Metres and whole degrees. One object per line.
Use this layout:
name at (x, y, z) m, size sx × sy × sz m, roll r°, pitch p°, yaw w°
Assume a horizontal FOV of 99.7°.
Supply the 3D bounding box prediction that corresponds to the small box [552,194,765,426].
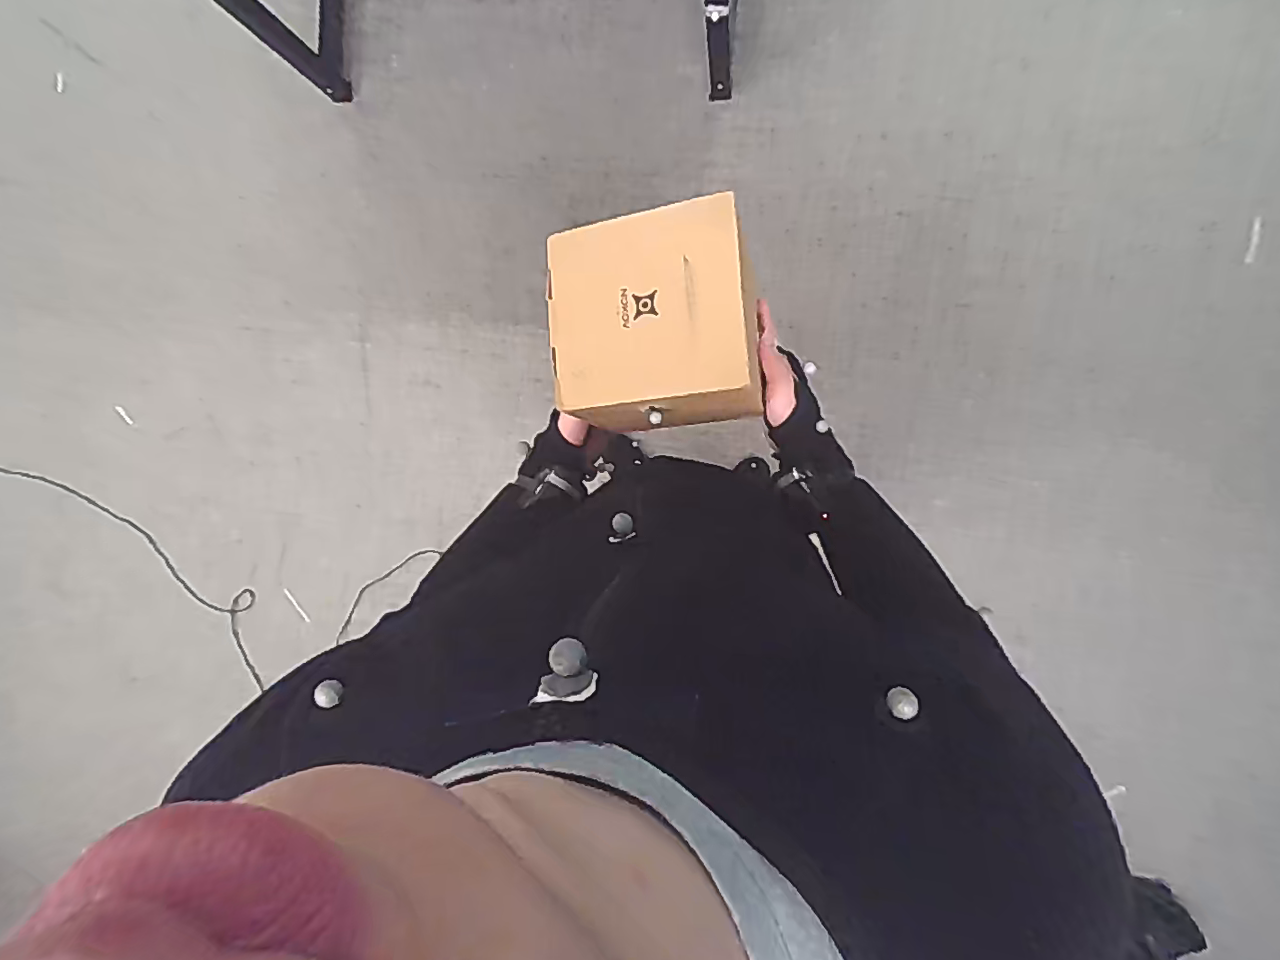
small box at (0.028, -0.153, 0.555) m, size 0.179 × 0.176 × 0.168 m, roll -5°, pitch 88°, yaw 16°
